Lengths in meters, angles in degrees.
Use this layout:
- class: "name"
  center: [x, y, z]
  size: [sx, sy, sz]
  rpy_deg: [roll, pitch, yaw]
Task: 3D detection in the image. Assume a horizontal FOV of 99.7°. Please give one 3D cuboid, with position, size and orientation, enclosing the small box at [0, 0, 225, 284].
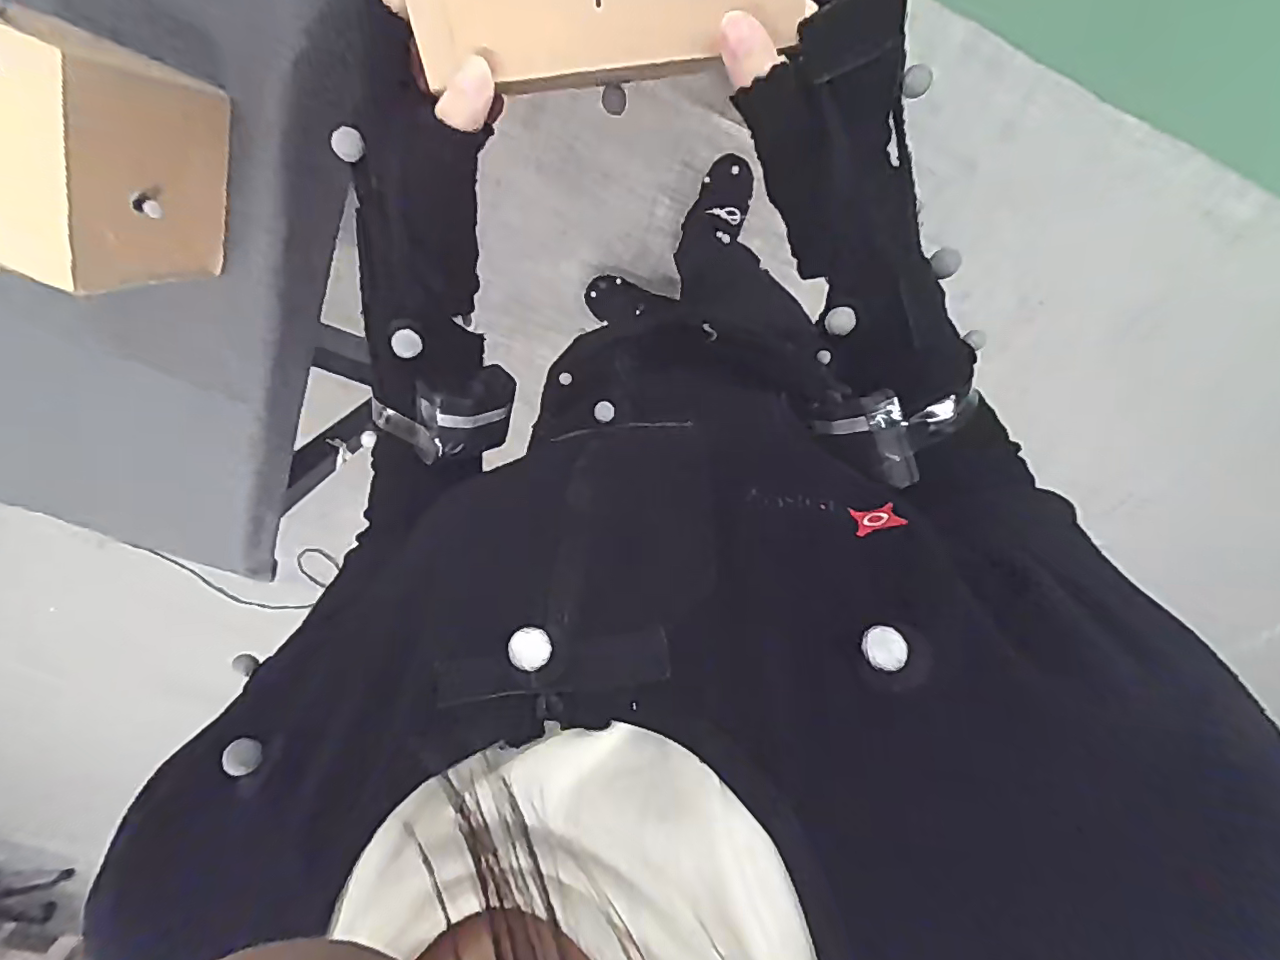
- class: "small box"
  center: [-0.500, -0.295, 0.465]
  size: [0.168, 0.176, 0.179]
  rpy_deg: [21, 116, -8]

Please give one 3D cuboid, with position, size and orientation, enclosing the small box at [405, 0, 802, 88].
- class: "small box"
  center: [-0.018, -0.297, 0.250]
  size: [0.168, 0.176, 0.179]
  rpy_deg: [-2, 125, 3]
